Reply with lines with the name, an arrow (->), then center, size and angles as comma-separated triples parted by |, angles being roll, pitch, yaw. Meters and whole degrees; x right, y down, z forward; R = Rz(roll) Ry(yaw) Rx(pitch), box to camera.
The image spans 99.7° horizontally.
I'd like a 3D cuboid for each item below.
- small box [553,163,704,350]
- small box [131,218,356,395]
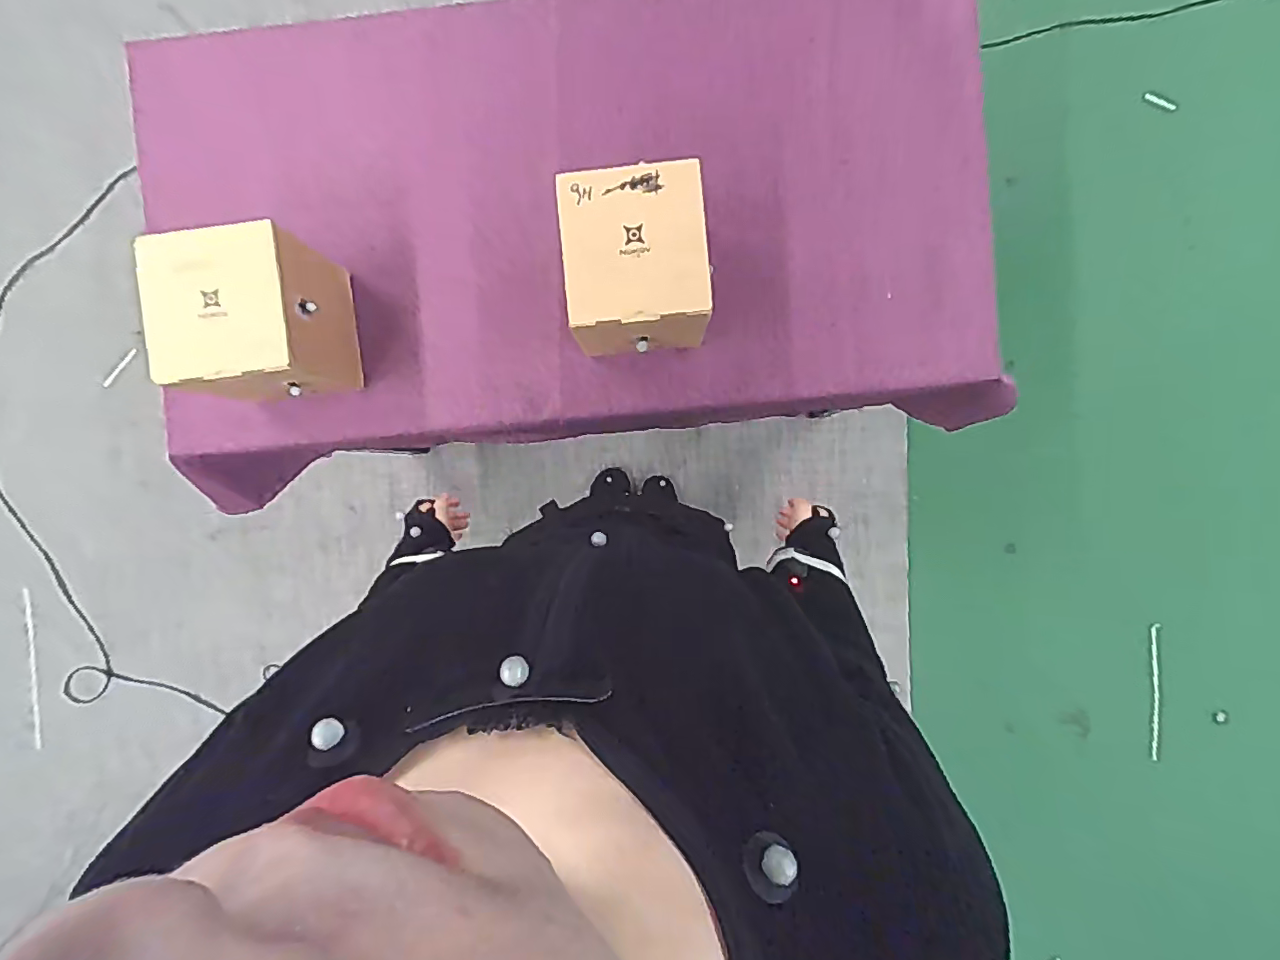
small box -> -0.010, -0.269, 0.693 | 0.168, 0.176, 0.179 | -5, 92, 1
small box -> -0.495, -0.209, 0.703 | 0.168, 0.176, 0.179 | -6, 91, 0
